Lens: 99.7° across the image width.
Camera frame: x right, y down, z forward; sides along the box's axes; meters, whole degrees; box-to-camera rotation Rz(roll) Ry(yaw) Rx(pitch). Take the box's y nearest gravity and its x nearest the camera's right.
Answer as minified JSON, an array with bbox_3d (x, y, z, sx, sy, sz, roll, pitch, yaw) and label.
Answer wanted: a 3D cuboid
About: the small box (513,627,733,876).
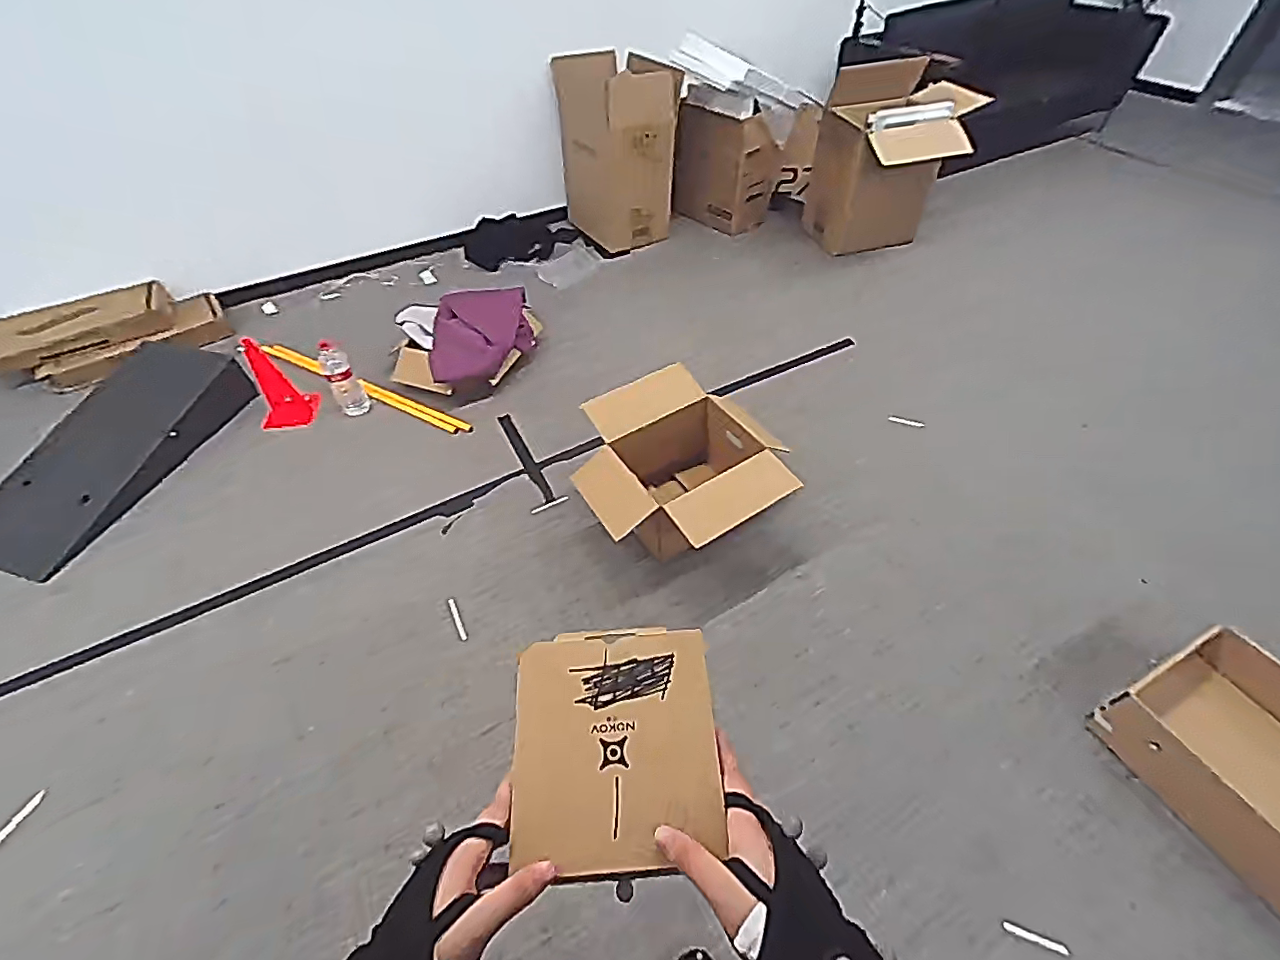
[{"bbox_3d":[-0.013,0.258,0.509,0.168,0.176,0.179,-5,53,1],"label":"small box"}]
